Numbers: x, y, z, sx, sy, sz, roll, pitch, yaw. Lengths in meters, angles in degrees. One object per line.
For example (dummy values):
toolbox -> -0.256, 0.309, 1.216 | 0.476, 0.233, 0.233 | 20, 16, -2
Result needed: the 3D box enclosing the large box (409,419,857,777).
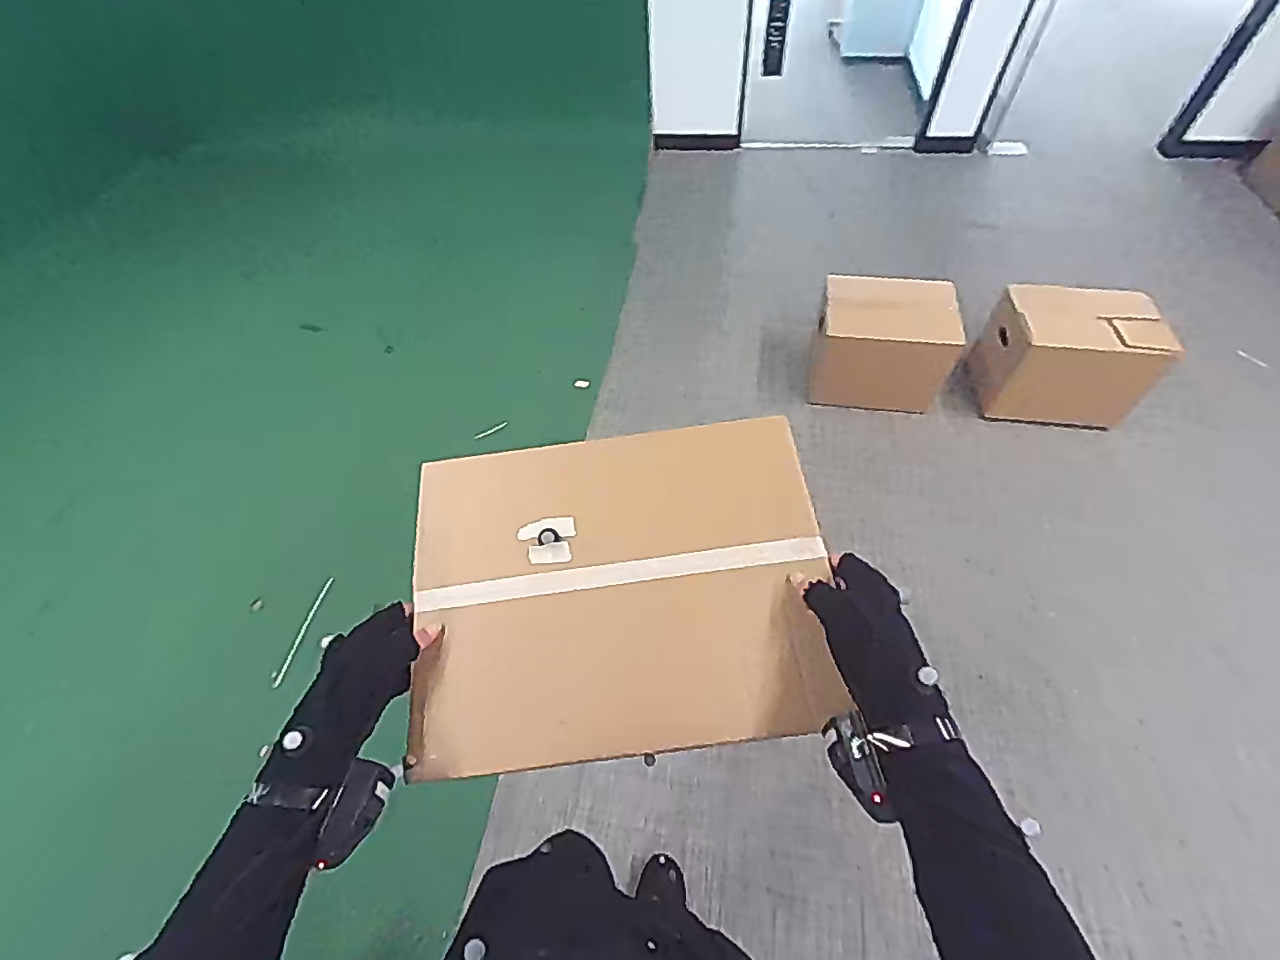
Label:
large box -> -0.011, 0.156, 0.666 | 0.408, 0.320, 0.320 | -7, 64, 2
